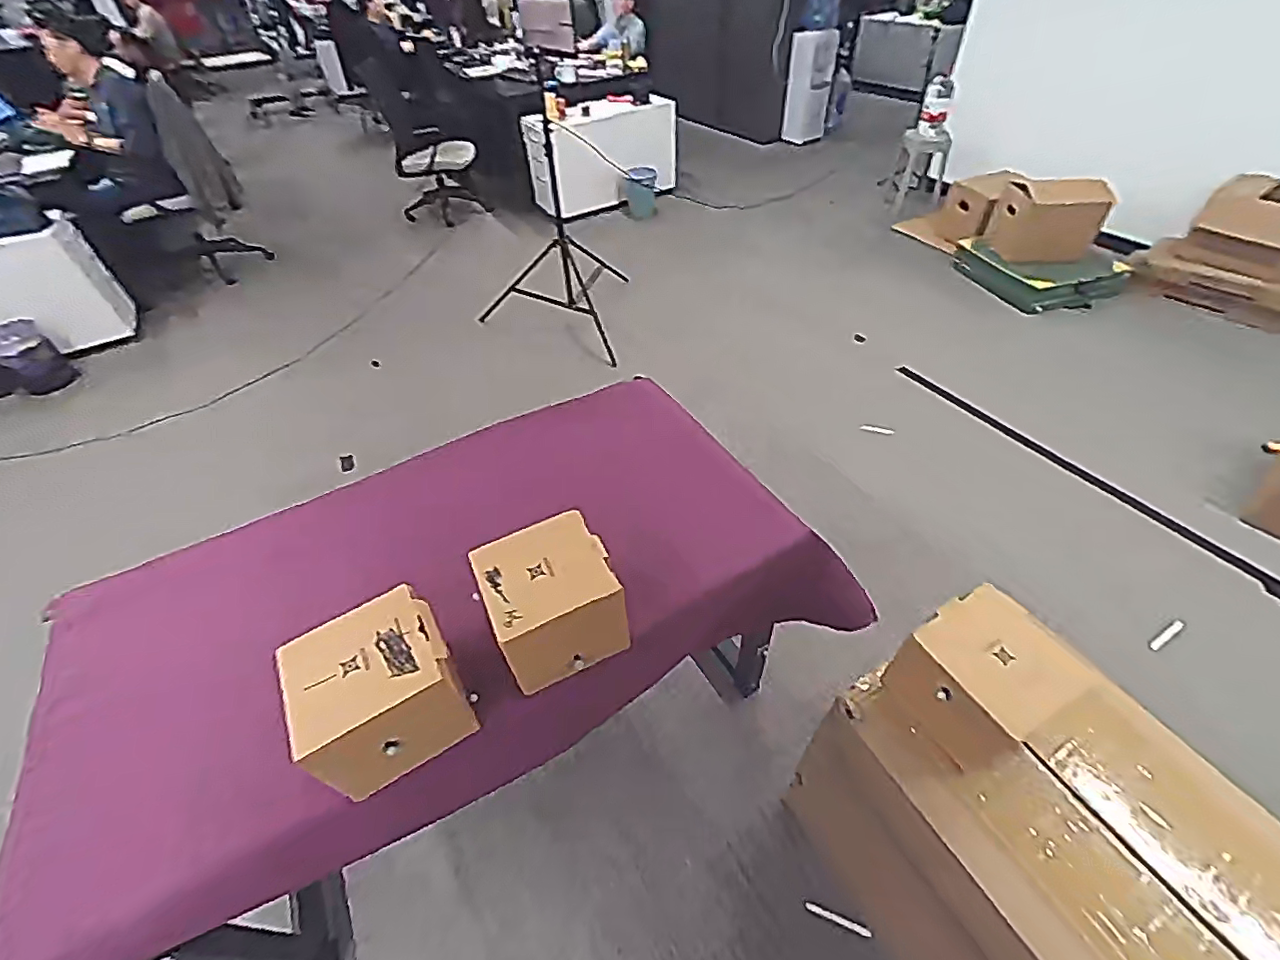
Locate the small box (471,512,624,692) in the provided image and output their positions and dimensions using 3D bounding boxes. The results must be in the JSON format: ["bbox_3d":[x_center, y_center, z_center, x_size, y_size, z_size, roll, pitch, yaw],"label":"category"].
[{"bbox_3d":[-0.133,0.185,0.819,0.179,0.176,0.168,-21,47,-17],"label":"small box"}]

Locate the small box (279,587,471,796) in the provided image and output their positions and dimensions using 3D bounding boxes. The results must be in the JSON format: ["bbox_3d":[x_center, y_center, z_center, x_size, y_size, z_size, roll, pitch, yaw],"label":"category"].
[{"bbox_3d":[-0.347,0.286,0.734,0.179,0.176,0.168,-27,49,-19],"label":"small box"}]

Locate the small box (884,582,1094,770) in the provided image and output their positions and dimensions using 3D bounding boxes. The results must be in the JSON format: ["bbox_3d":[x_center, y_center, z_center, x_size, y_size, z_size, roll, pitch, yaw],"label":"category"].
[{"bbox_3d":[0.502,0.294,0.810,0.168,0.176,0.179,-26,51,-17],"label":"small box"}]
